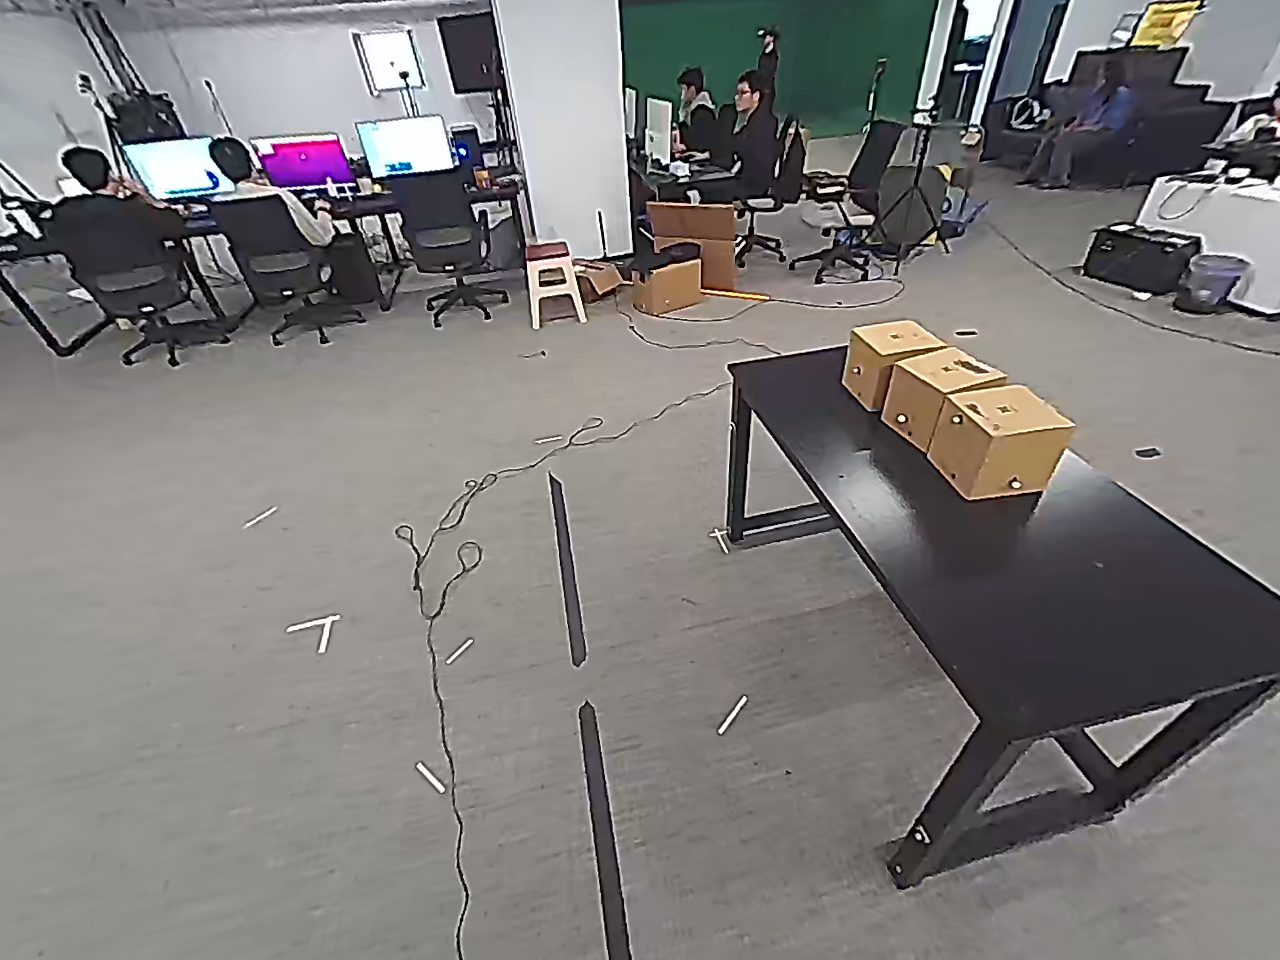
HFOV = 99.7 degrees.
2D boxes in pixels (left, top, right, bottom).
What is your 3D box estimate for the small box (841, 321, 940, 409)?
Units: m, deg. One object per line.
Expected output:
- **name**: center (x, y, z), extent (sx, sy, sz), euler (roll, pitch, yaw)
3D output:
- **small box**: center (0.659, -0.306, 1.451), extent (0.179, 0.176, 0.168), euler (-9, 39, -5)
